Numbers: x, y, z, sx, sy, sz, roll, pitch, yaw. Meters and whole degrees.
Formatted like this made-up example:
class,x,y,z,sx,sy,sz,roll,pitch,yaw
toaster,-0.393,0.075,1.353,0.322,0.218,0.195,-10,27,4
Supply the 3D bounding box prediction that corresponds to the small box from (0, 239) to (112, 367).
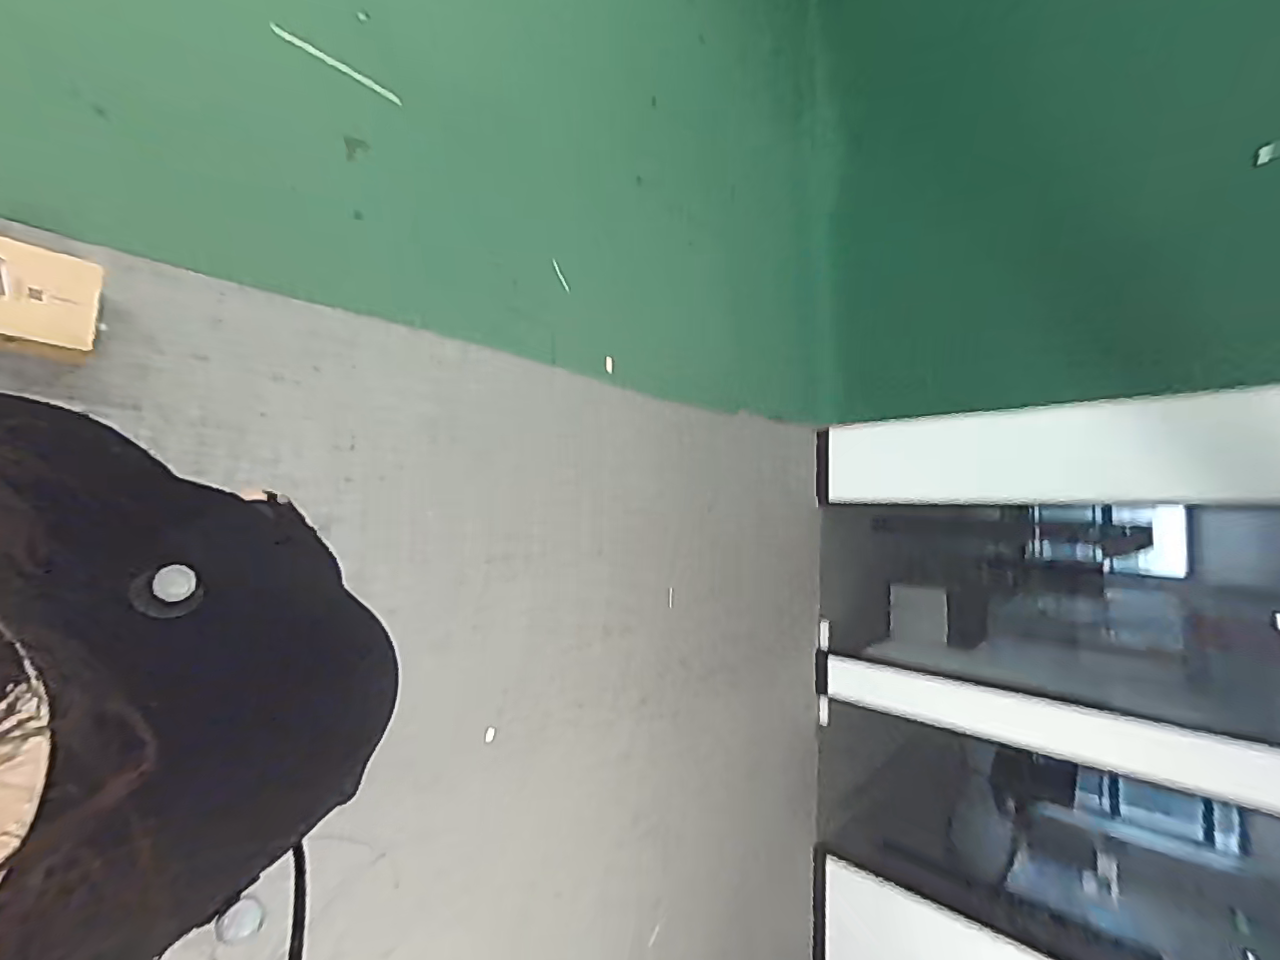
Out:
class,x,y,z,sx,sy,sz,roll,pitch,yaw
small box,-1.098,-0.313,0.981,0.179,0.176,0.168,11,82,-47
